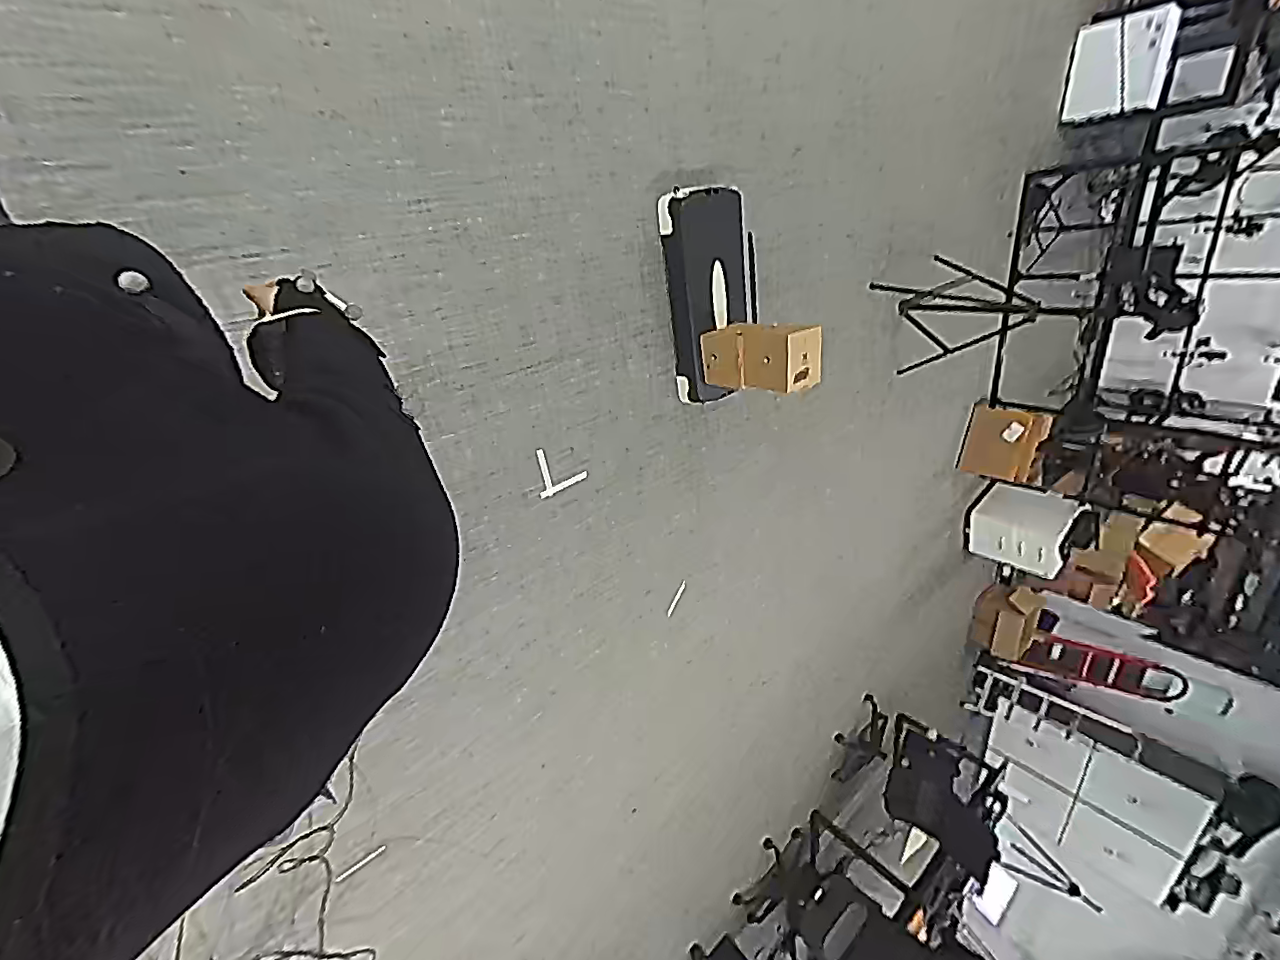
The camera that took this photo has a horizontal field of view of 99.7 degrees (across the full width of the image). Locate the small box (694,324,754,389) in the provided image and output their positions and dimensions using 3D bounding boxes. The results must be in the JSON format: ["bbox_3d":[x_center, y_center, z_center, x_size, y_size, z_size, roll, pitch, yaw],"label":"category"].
[{"bbox_3d":[0.302,-0.417,1.799,0.179,0.176,0.168,-28,122,-30],"label":"small box"}]

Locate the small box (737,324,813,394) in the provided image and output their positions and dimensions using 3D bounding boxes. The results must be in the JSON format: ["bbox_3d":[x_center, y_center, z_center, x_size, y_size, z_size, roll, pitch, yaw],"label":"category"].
[{"bbox_3d":[0.417,-0.383,1.685,0.168,0.176,0.179,-22,118,-34],"label":"small box"}]
